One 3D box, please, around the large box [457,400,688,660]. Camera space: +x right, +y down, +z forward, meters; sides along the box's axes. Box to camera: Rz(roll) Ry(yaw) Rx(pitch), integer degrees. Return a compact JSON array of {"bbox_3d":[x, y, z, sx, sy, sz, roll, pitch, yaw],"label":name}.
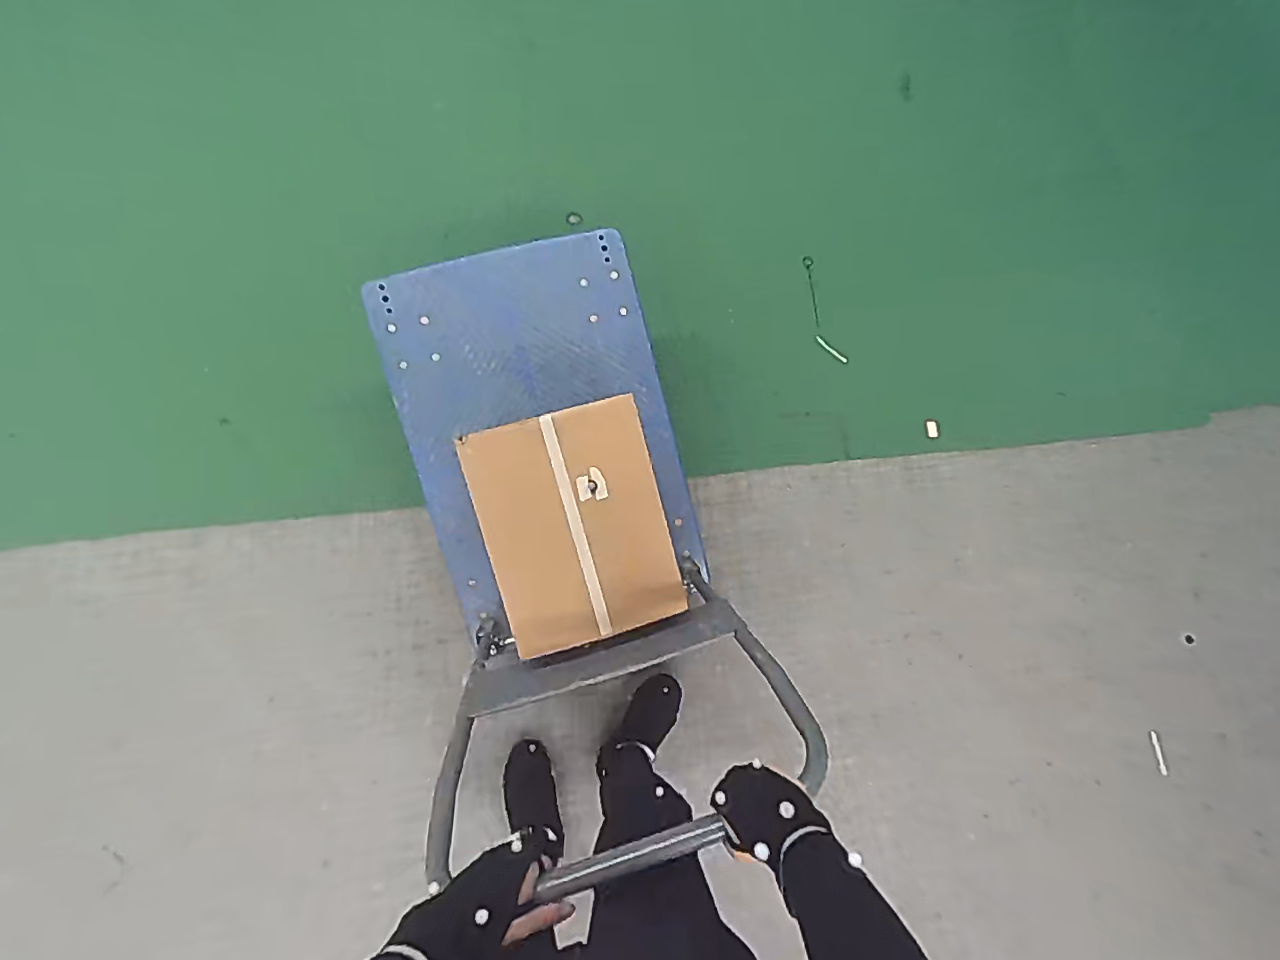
[{"bbox_3d":[-0.127,0.079,1.091,0.320,0.320,0.408,-16,96,-7],"label":"large box"}]
